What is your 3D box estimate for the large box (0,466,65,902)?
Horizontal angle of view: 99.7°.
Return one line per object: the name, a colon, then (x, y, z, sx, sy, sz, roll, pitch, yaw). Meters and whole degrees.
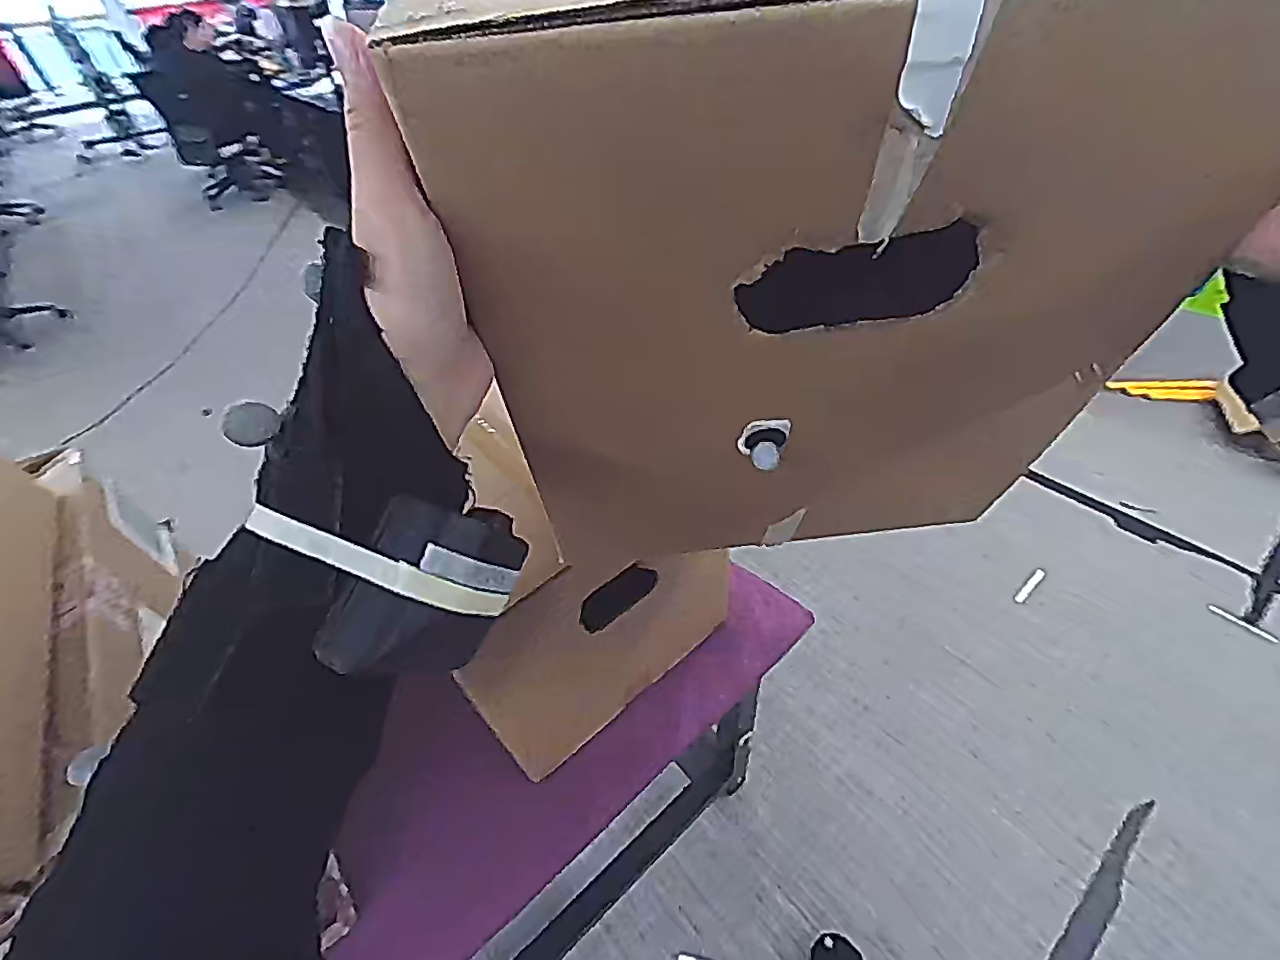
large box: (-0.595, 0.100, 0.269, 0.320, 0.320, 0.408, -35, 52, -20)
